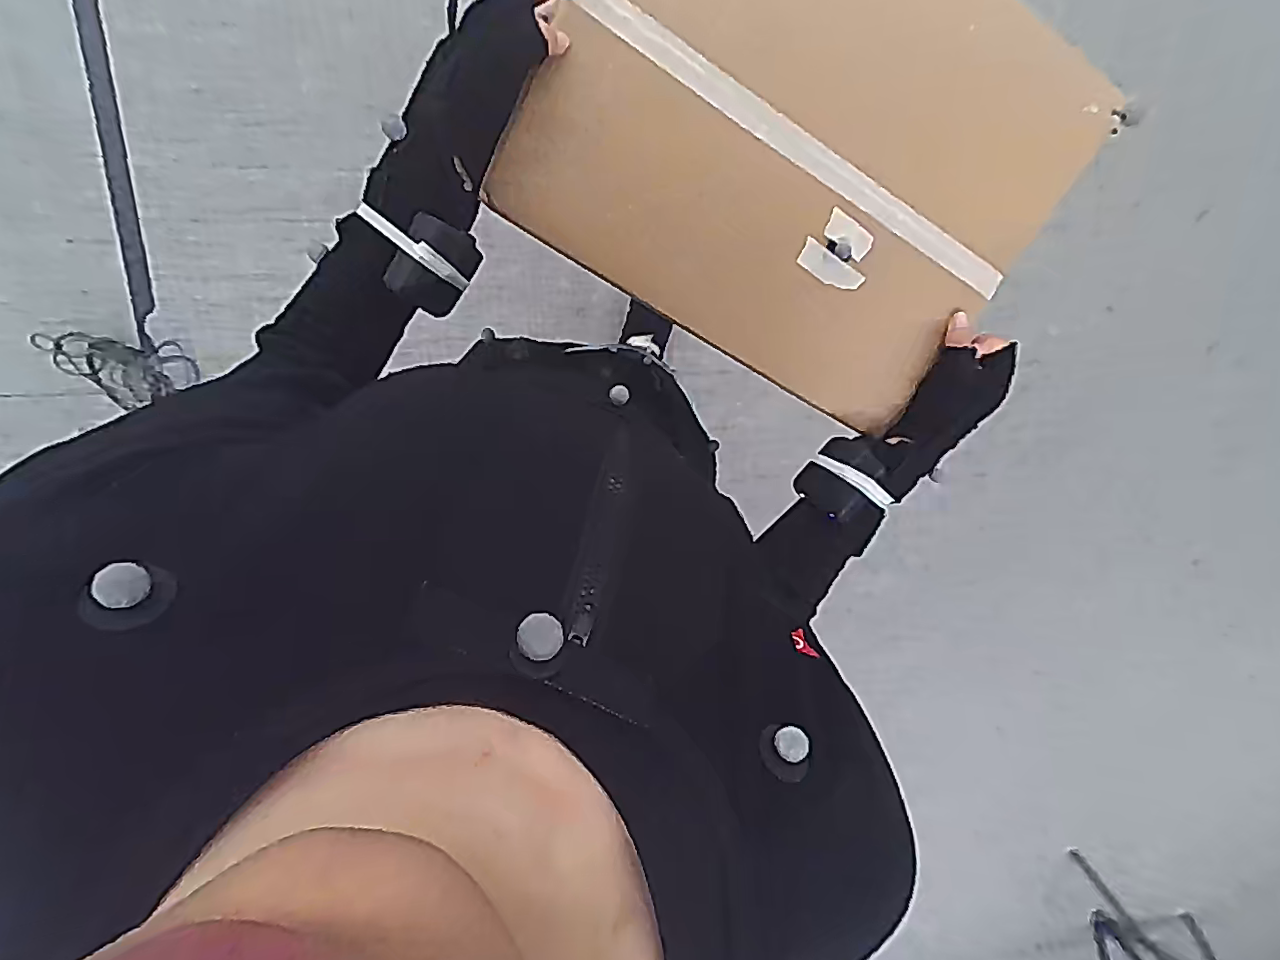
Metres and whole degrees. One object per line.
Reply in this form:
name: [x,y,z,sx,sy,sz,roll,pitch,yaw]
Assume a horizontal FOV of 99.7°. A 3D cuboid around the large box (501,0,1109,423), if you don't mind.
large box: [0.120,-0.315,0.567,0.408,0.320,0.320,27,107,-14]
